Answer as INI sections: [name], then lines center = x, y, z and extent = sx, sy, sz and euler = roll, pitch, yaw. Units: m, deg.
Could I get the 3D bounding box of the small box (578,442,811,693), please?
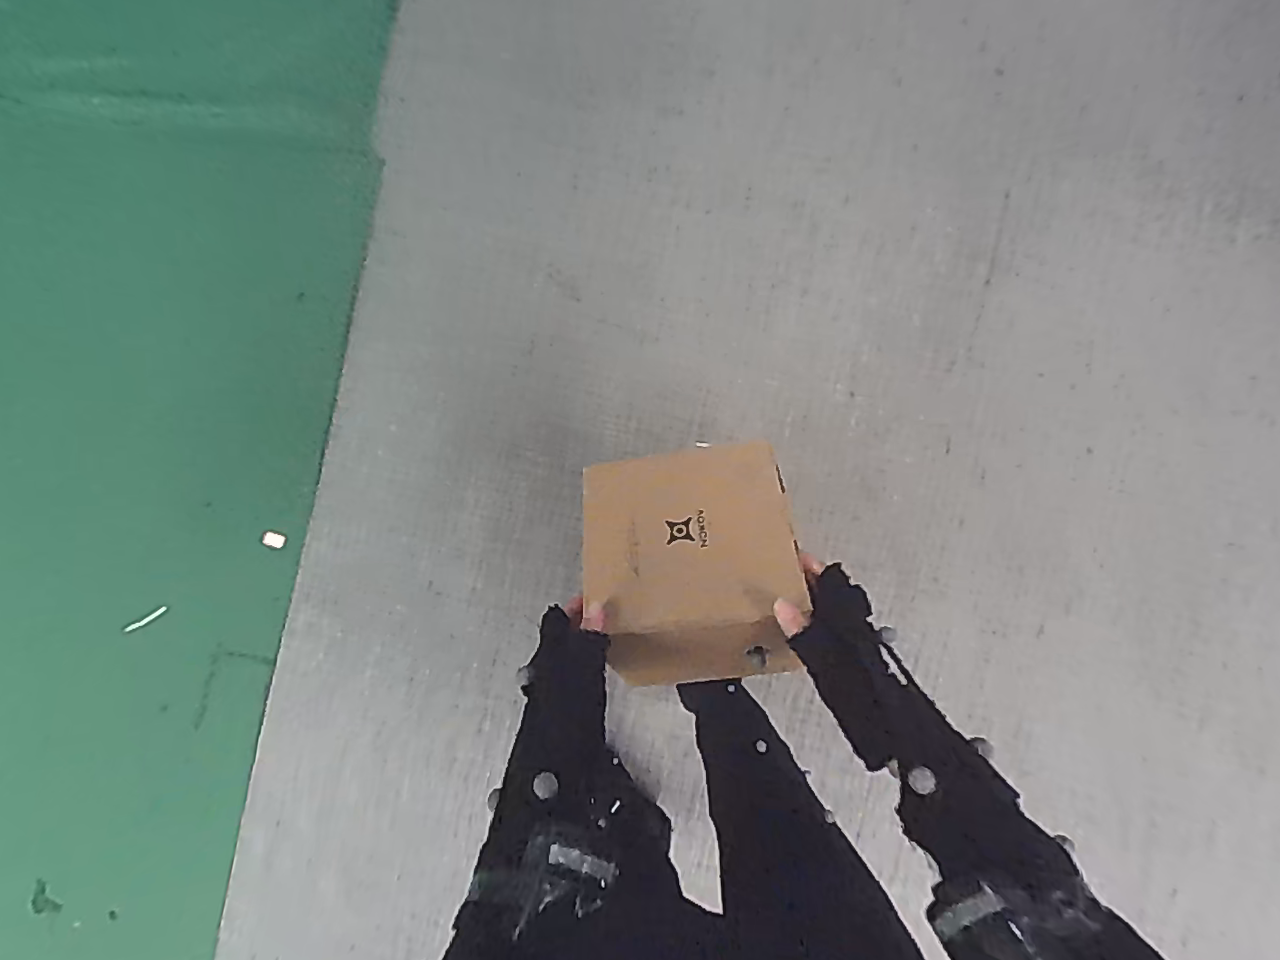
[small box]
center = 0.051, 0.092, 0.510
extent = 0.179, 0.176, 0.168
euler = -12, 56, 9
